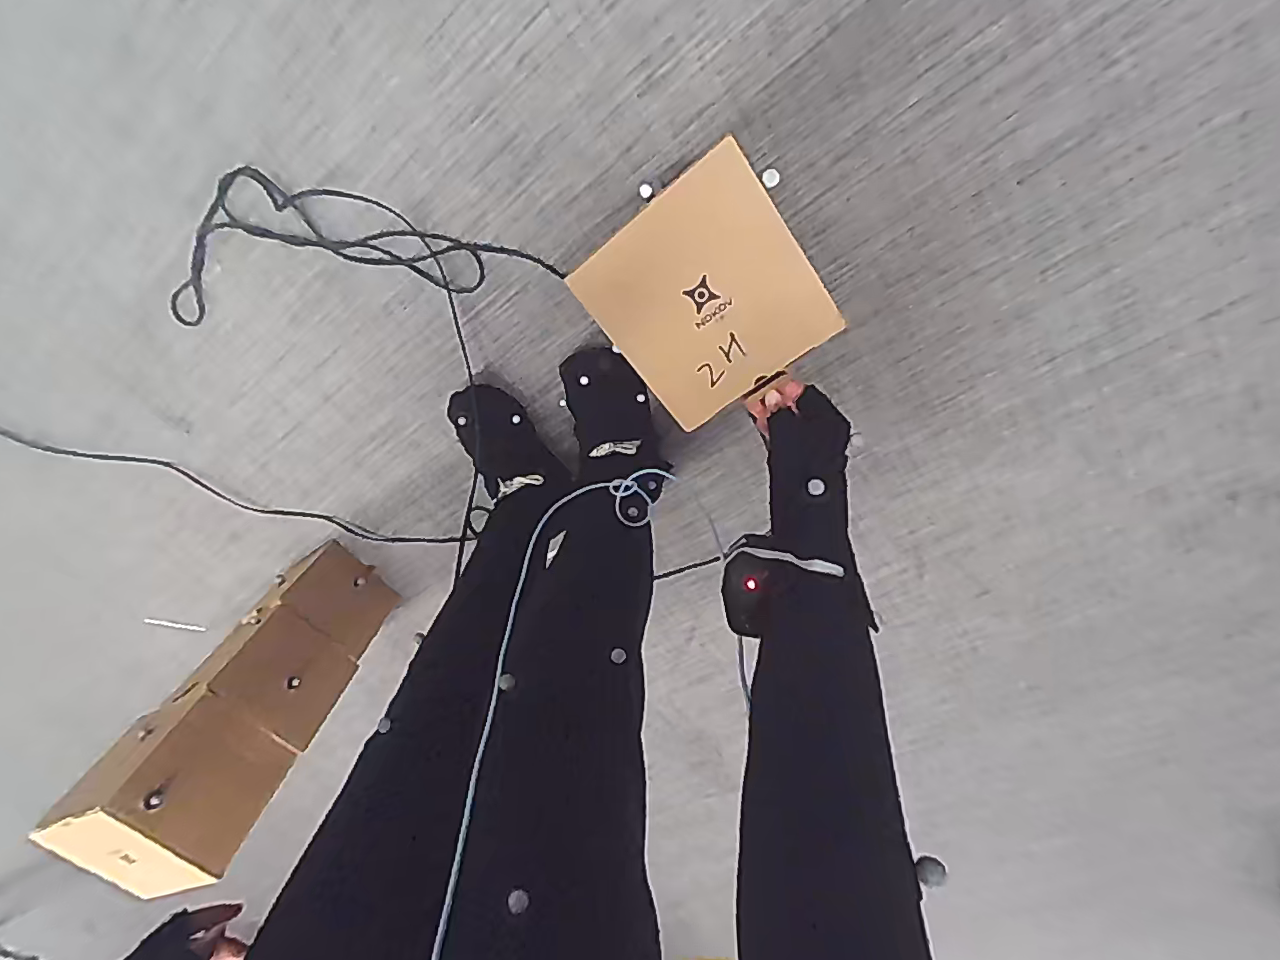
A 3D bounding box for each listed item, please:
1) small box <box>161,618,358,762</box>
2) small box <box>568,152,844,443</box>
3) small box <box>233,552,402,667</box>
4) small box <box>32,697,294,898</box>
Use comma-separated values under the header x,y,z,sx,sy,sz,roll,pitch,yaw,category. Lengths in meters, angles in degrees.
x,y,z,sx,sy,sz,roll,pitch,yaw,category
-0.615,0.351,0.886,0.168,0.176,0.179,-28,115,20,small box
0.060,-0.172,0.513,0.168,0.176,0.179,-32,112,21,small box
-0.600,0.260,1.025,0.168,0.176,0.179,-30,112,24,small box
-0.637,0.436,0.749,0.168,0.176,0.179,-23,115,18,small box
